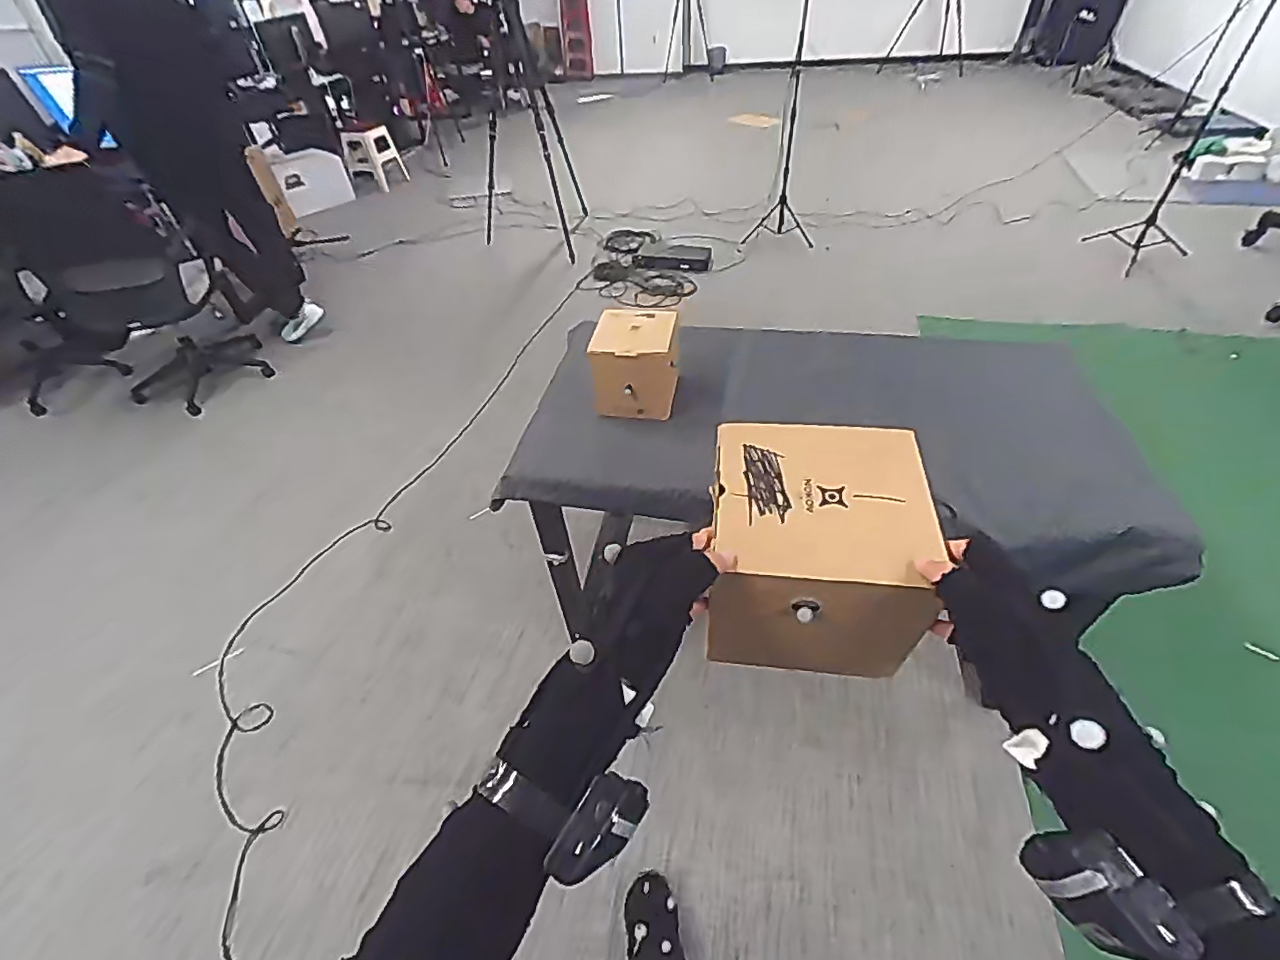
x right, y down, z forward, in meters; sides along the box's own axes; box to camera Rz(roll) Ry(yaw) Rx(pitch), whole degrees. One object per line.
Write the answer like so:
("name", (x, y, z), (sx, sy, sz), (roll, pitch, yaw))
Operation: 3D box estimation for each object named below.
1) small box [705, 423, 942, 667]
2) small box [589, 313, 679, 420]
("small box", (0.154, 0.064, 0.517), (0.179, 0.176, 0.168), (3, 50, 8))
("small box", (-0.004, -0.249, 1.195), (0.168, 0.176, 0.179), (5, 46, 10))
